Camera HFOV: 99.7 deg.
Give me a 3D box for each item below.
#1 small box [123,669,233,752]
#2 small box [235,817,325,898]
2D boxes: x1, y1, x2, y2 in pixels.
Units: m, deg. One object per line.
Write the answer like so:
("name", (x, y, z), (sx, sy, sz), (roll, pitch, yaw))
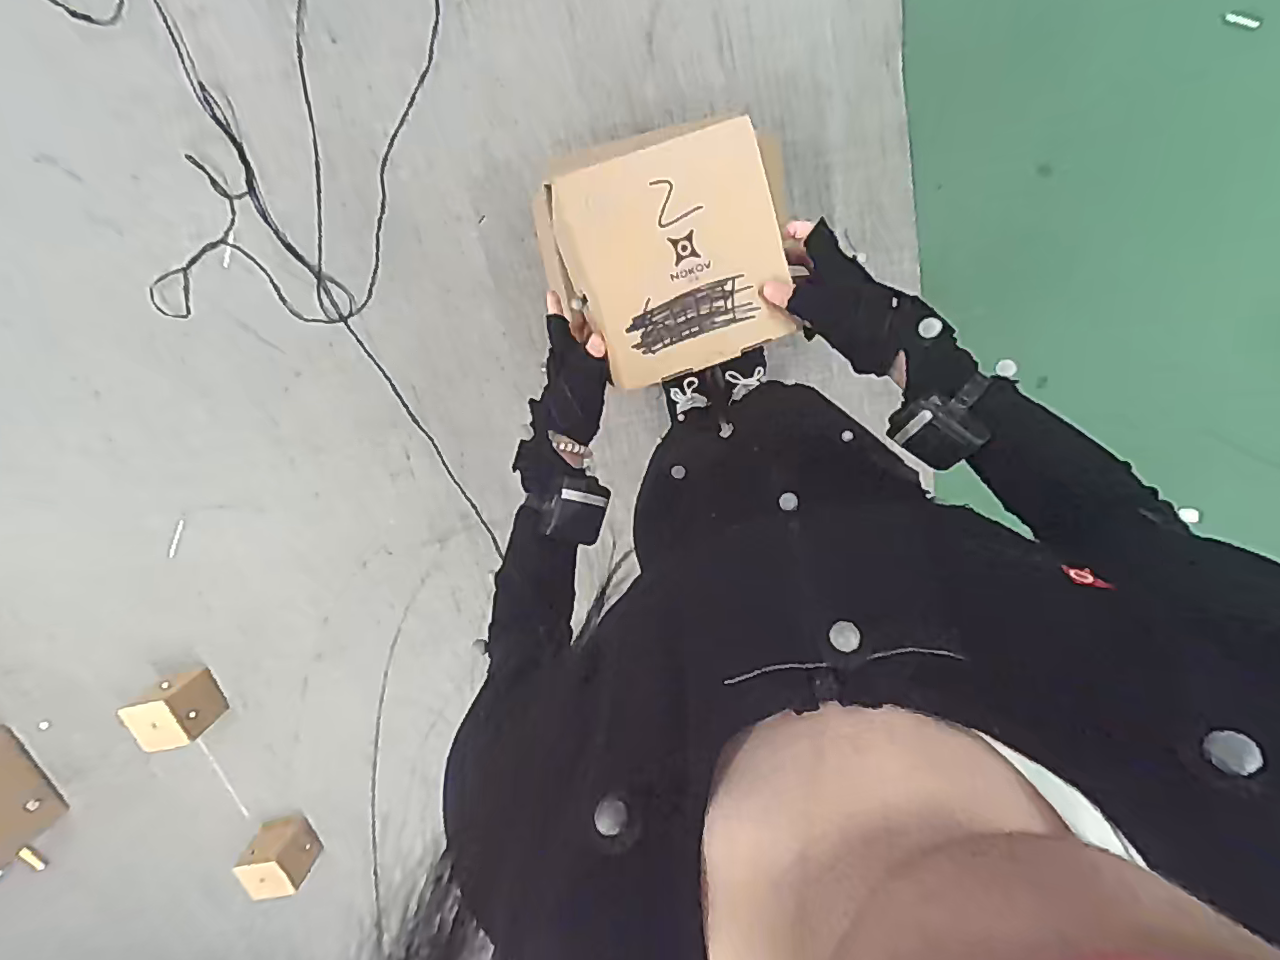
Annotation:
("small box", (-1.477, 0.731, 1.740), (0.168, 0.176, 0.179), (-13, 109, 6))
("small box", (-1.288, 1.356, 1.948), (0.179, 0.176, 0.168), (-13, 108, 7))
